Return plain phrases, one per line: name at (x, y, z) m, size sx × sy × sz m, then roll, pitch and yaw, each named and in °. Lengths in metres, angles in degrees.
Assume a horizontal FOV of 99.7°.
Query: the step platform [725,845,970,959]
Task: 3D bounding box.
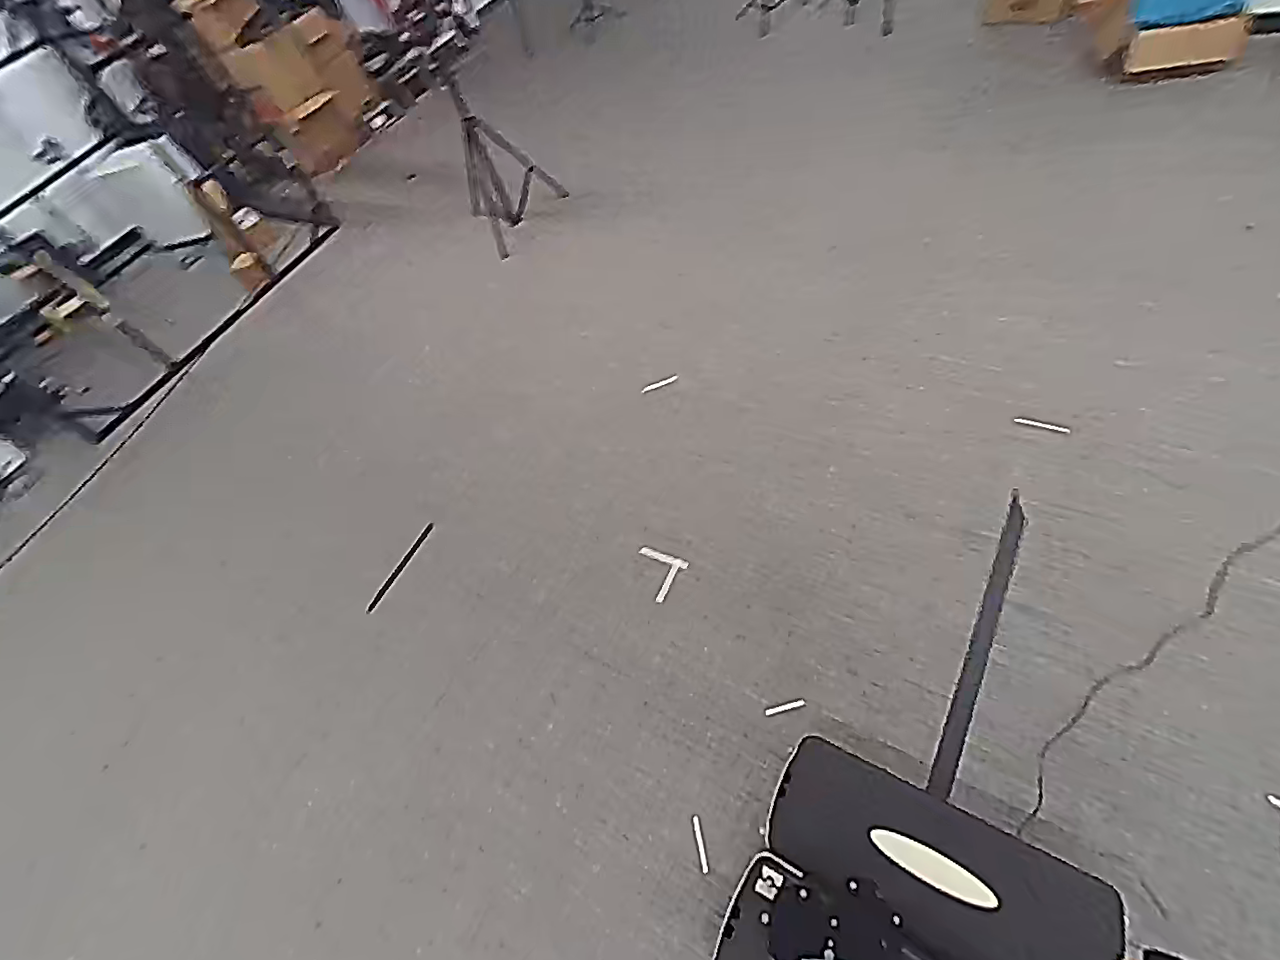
step platform at (0.511, 1.032, 1.048) m, size 0.684 × 0.204 × 0.286 m, roll 17°, pitch 63°, yaw 27°
